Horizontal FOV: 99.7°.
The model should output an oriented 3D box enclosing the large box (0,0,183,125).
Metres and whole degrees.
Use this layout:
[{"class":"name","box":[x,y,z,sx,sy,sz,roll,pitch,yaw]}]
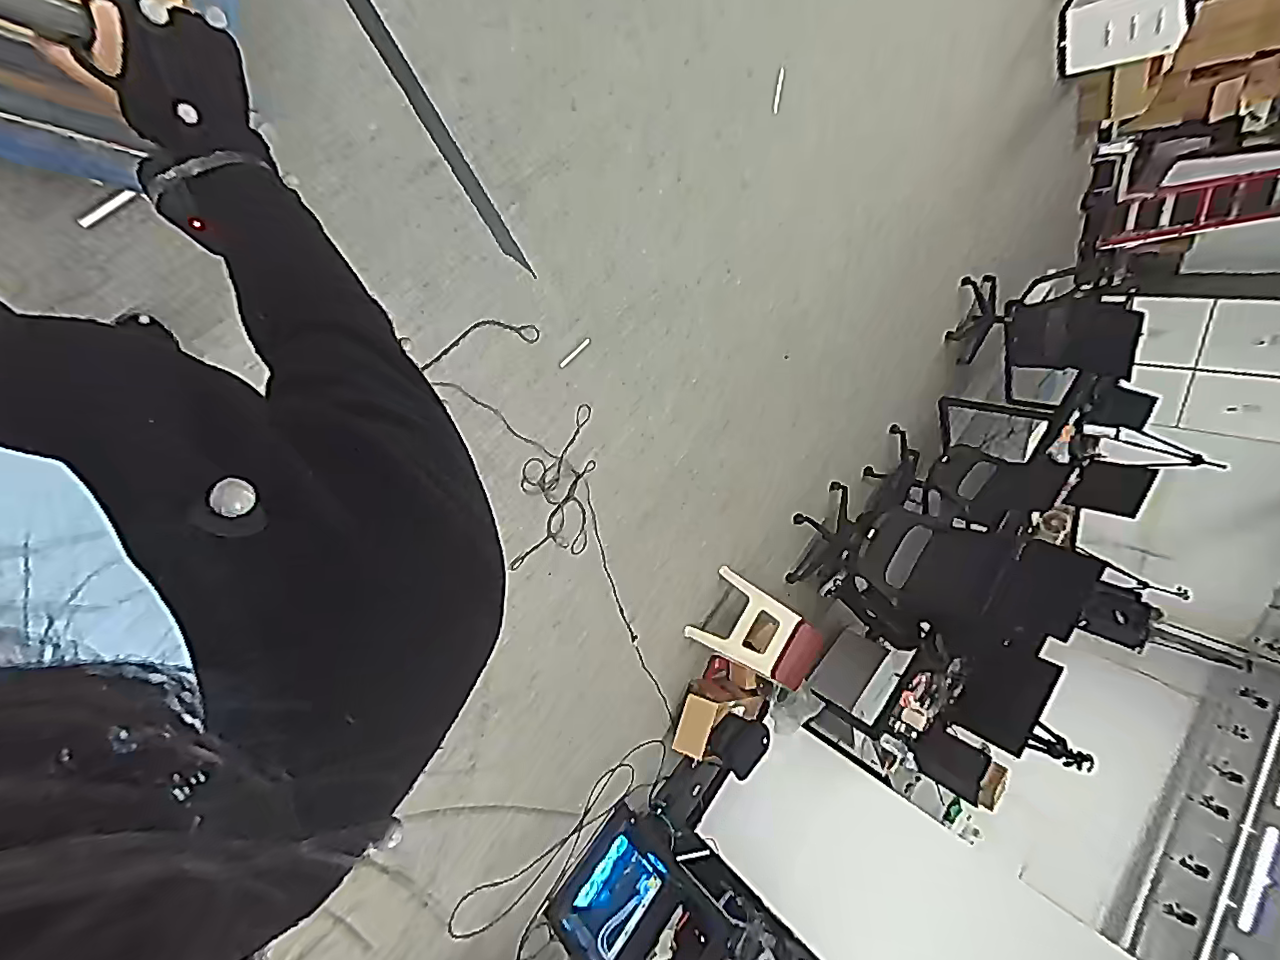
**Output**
[{"class":"large box","box":[-0.816,-0.693,0.636,0.408,0.320,0.320,-2,107,-45]}]
